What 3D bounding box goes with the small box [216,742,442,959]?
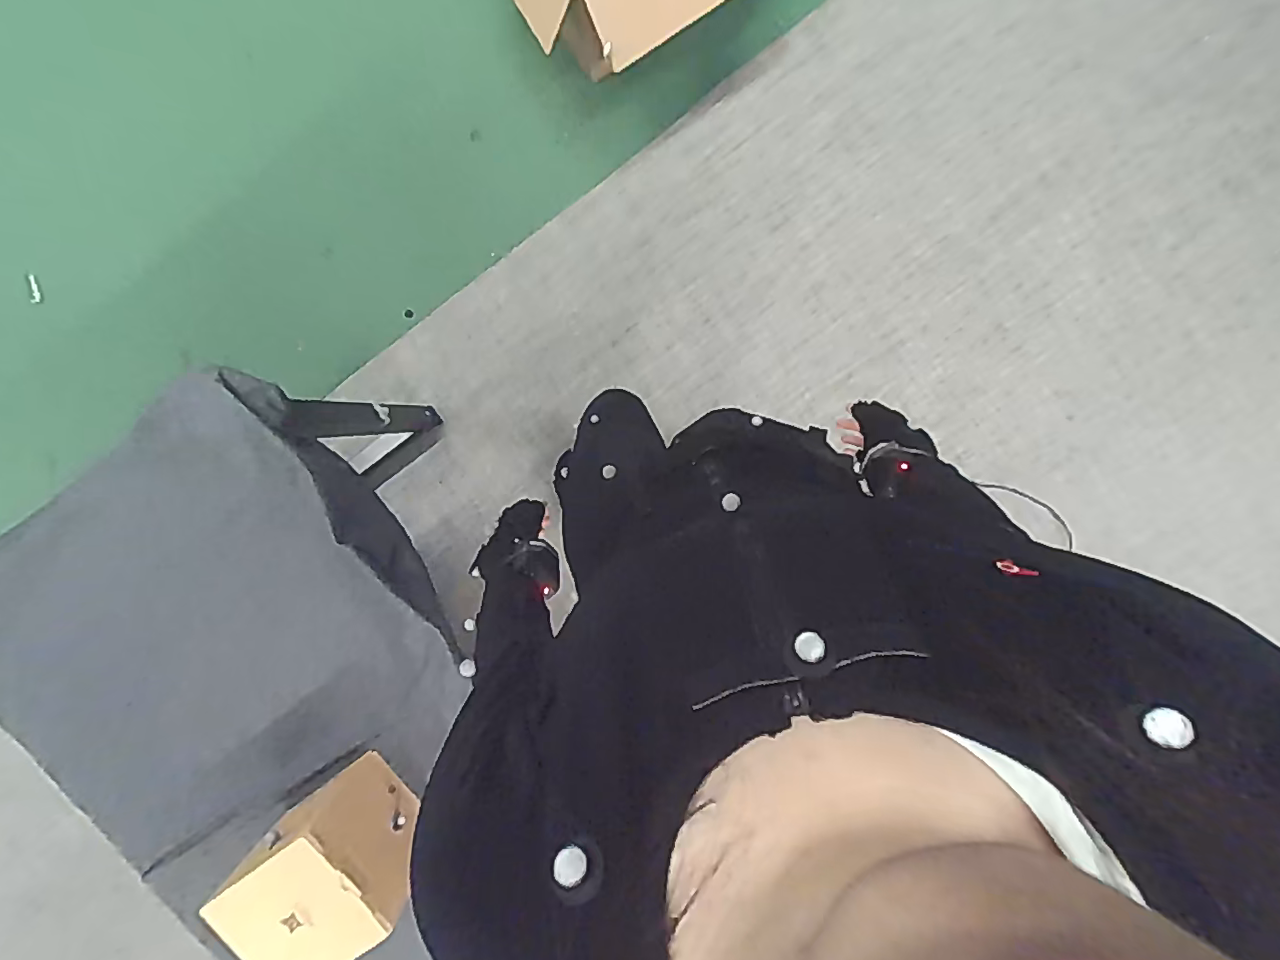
[{"bbox_3d":[-0.415,0.515,0.754,0.179,0.176,0.168,-37,94,4],"label":"small box"}]
